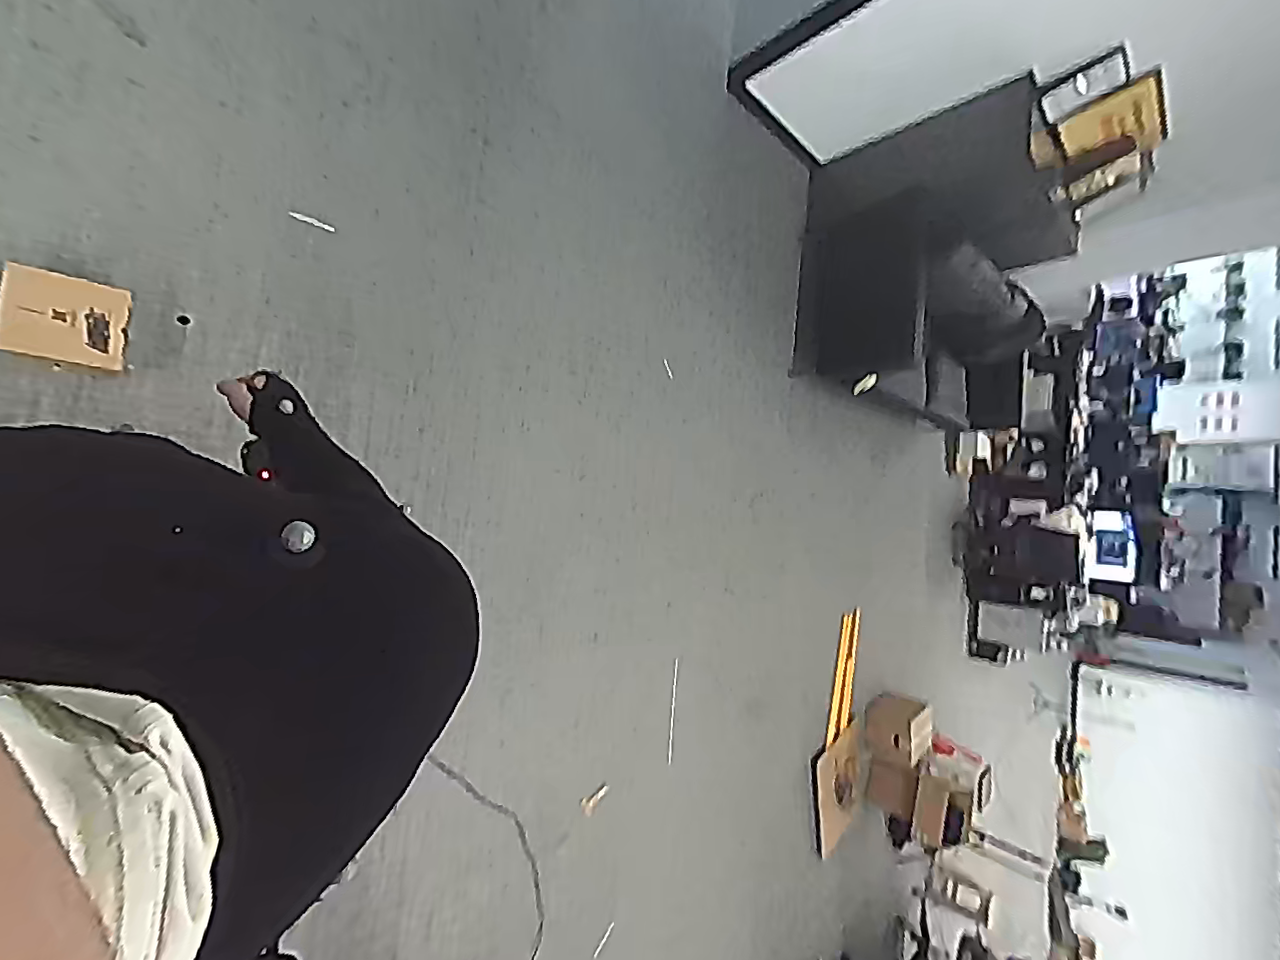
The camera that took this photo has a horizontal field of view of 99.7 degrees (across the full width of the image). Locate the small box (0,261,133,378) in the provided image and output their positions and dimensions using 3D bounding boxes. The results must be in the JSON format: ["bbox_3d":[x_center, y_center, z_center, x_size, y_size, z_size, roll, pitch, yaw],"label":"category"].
[{"bbox_3d":[-1.152,-0.309,1.086,0.179,0.176,0.168,9,84,-43],"label":"small box"}]
